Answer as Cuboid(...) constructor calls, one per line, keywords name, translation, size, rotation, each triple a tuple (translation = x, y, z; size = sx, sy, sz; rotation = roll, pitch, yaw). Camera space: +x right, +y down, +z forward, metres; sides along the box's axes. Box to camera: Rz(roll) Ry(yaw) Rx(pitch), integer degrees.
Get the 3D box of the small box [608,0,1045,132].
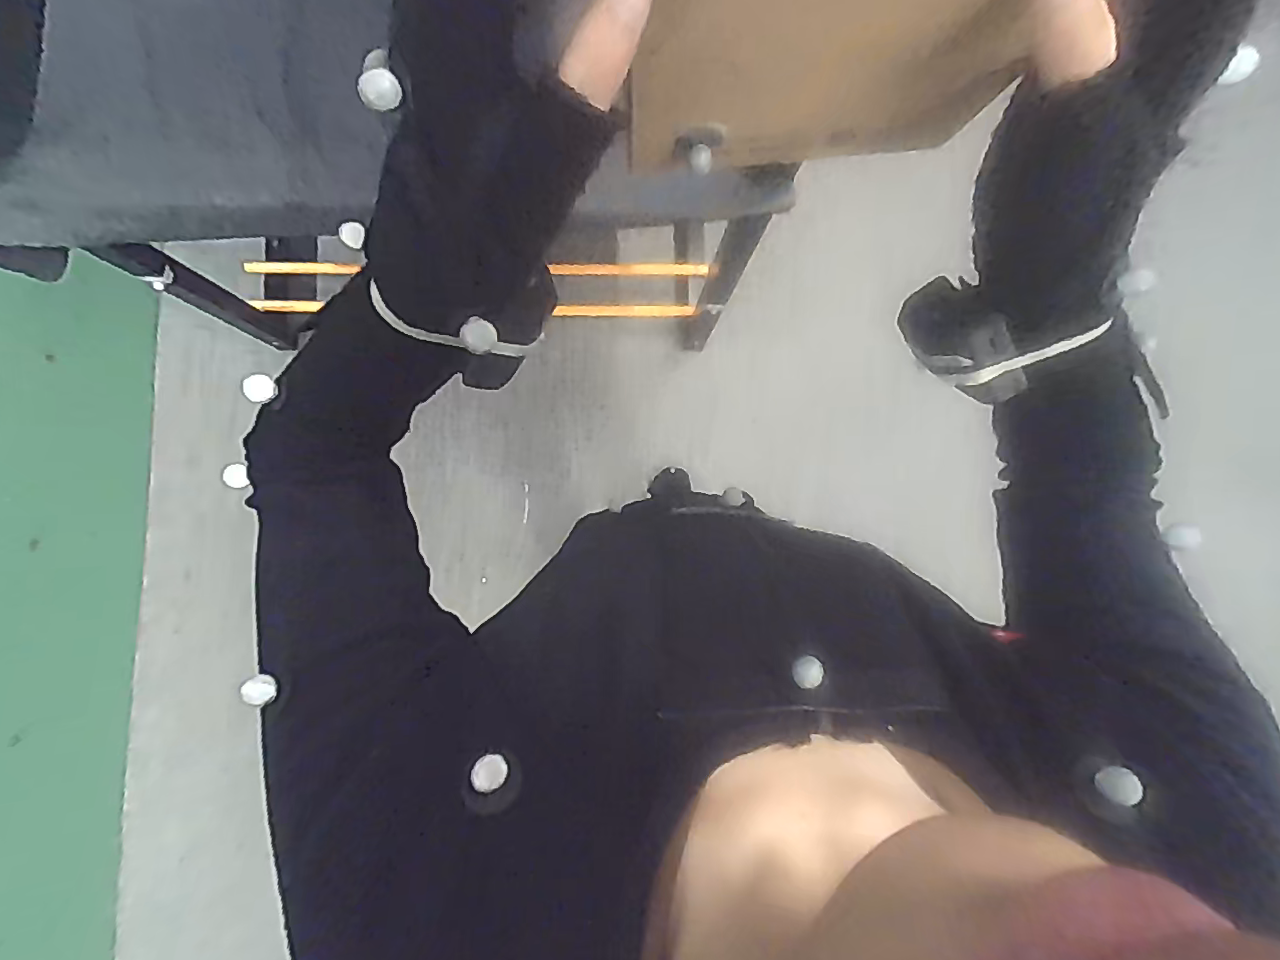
Cuboid(name="small box", translation=(0.067, -0.250, 0.187), size=(0.168, 0.176, 0.179), rotation=(-5, 94, -1))
